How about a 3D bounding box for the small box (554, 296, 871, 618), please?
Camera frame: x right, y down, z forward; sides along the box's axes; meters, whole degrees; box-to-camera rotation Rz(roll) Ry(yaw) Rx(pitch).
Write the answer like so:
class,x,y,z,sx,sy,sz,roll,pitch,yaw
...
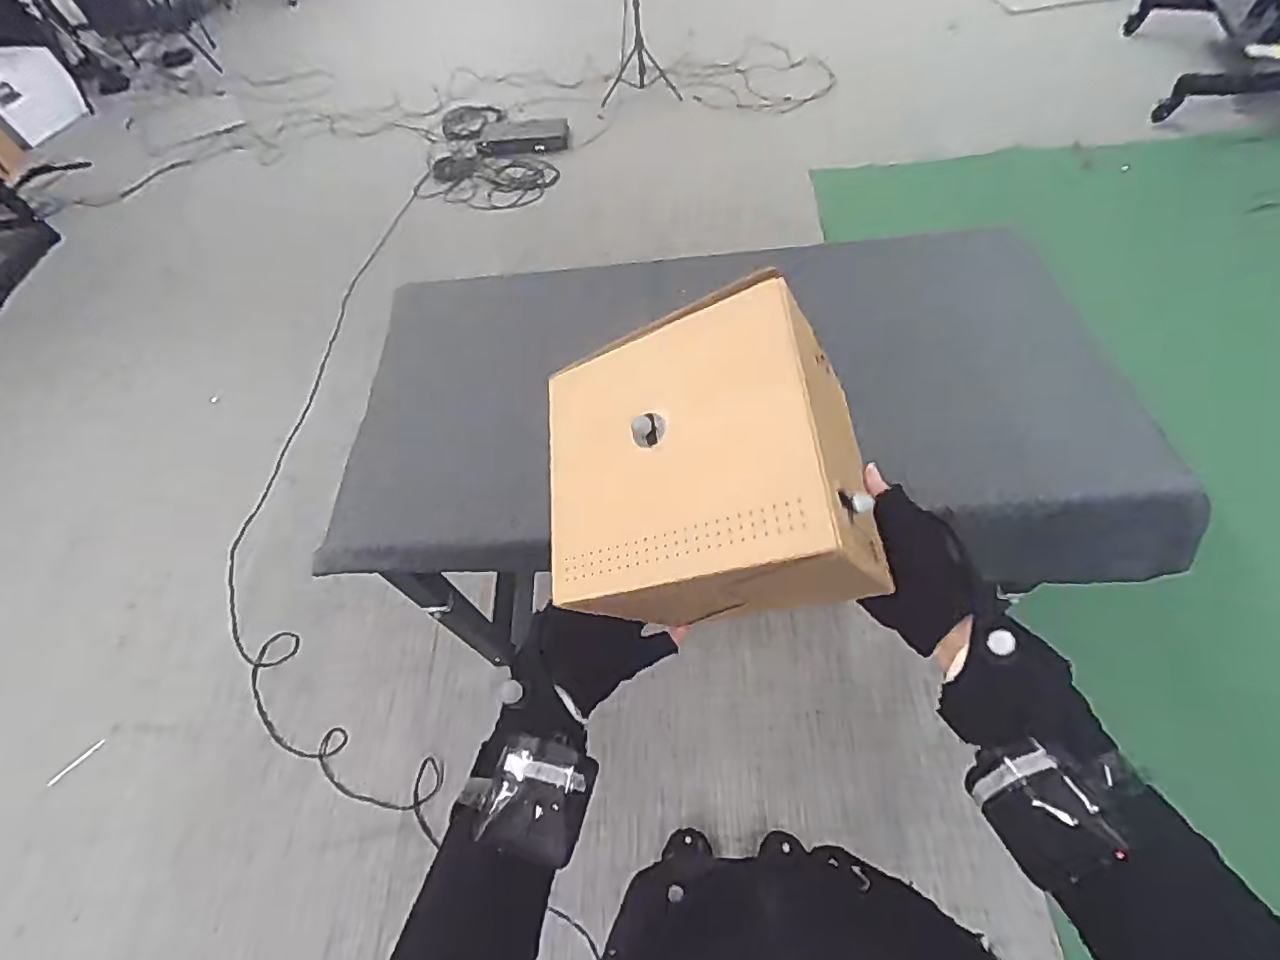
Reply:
class,x,y,z,sx,sy,sz,roll,pitch,yaw
small box,0.056,0.006,0.400,0.179,0.168,0.176,-16,65,27
